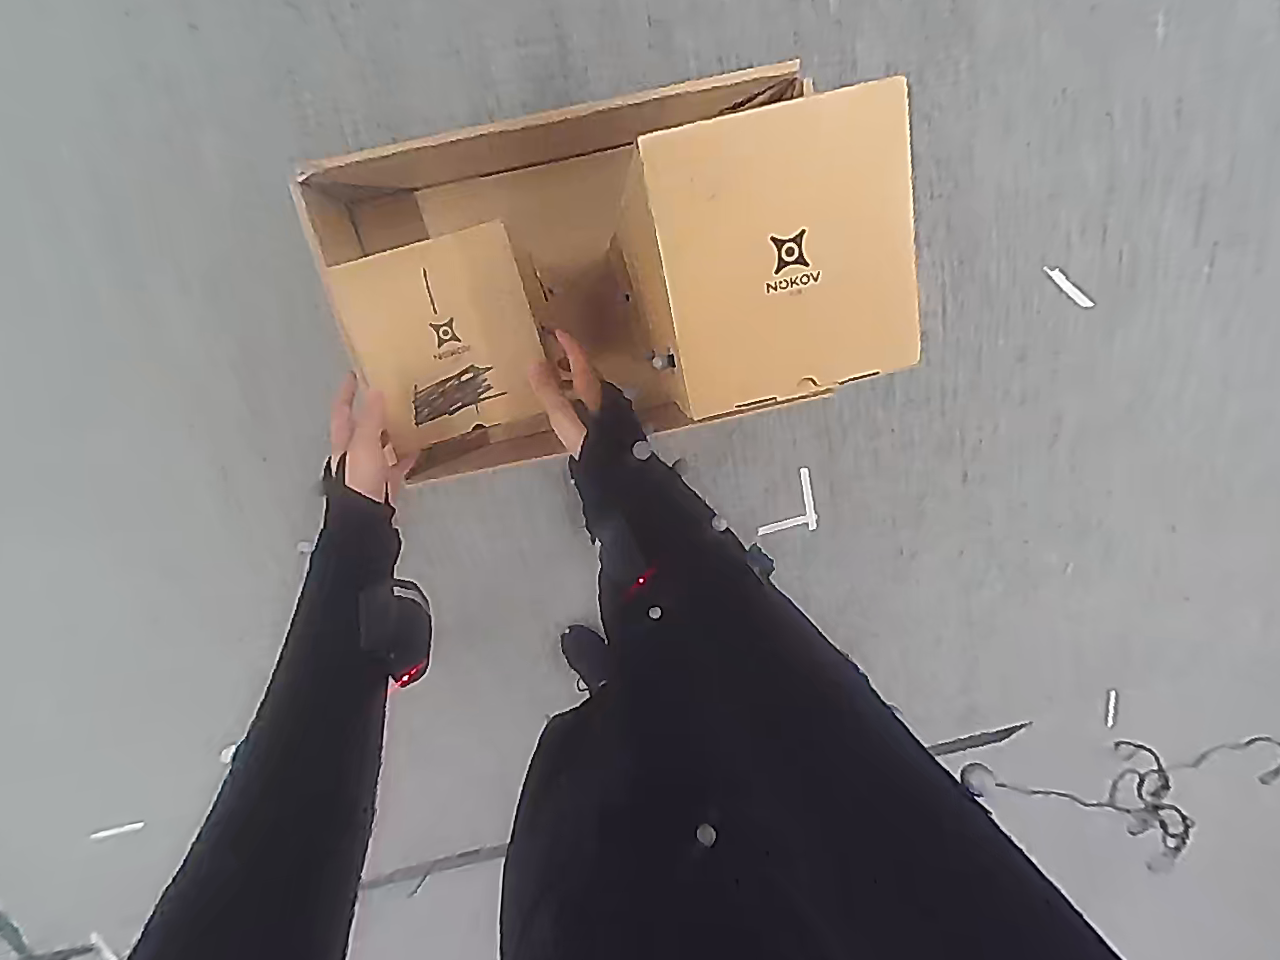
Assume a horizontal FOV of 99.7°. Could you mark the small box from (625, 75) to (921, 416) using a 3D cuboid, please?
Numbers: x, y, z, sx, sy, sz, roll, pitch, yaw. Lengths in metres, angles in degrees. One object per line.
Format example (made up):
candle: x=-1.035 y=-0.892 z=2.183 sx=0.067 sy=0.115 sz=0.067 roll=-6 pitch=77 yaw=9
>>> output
small box: x=0.087 y=-0.164 z=0.417 sx=0.168 sy=0.176 sz=0.179 roll=-14 pitch=109 yaw=0

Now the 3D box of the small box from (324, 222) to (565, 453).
small box: x=-0.182 y=-0.147 z=0.571 sx=0.168 sy=0.176 sz=0.179 roll=-16 pitch=106 yaw=0
